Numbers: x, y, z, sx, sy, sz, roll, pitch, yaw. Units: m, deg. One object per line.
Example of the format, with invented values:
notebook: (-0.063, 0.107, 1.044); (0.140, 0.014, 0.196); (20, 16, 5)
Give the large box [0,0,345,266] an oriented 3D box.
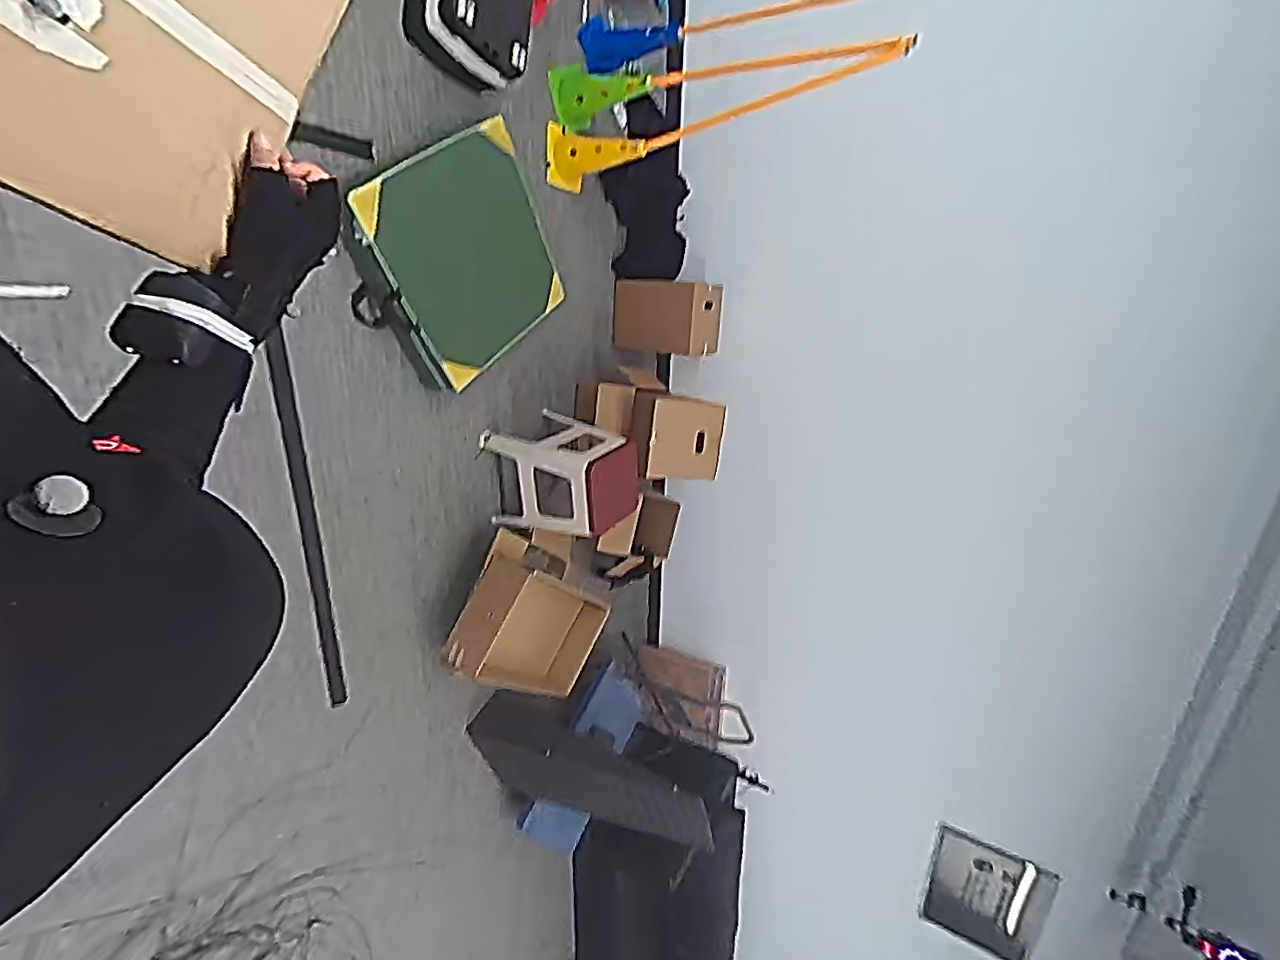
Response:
large box: (-0.510, -0.413, 0.376); (0.408, 0.320, 0.320); (25, 91, -59)
